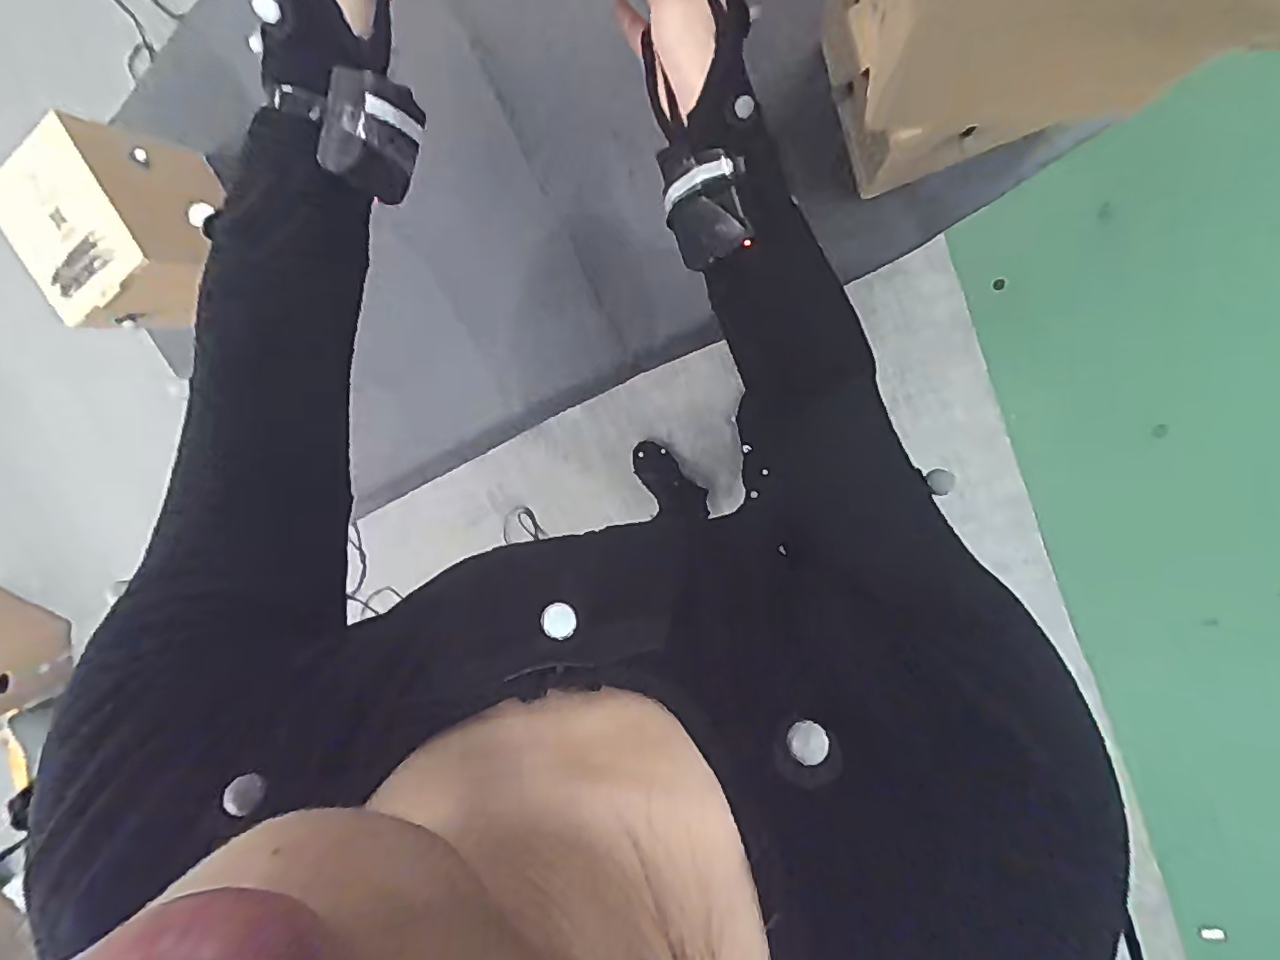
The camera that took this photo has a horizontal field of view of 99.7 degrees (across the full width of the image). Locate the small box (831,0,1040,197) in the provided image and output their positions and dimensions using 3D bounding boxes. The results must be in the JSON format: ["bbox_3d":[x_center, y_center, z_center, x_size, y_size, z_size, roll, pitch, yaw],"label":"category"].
[{"bbox_3d":[0.267,-0.369,0.454,0.179,0.176,0.168,-16,99,18],"label":"small box"}]

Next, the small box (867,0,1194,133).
[{"bbox_3d":[0.237,-0.316,0.302,0.179,0.176,0.168,5,105,12],"label":"small box"}]
